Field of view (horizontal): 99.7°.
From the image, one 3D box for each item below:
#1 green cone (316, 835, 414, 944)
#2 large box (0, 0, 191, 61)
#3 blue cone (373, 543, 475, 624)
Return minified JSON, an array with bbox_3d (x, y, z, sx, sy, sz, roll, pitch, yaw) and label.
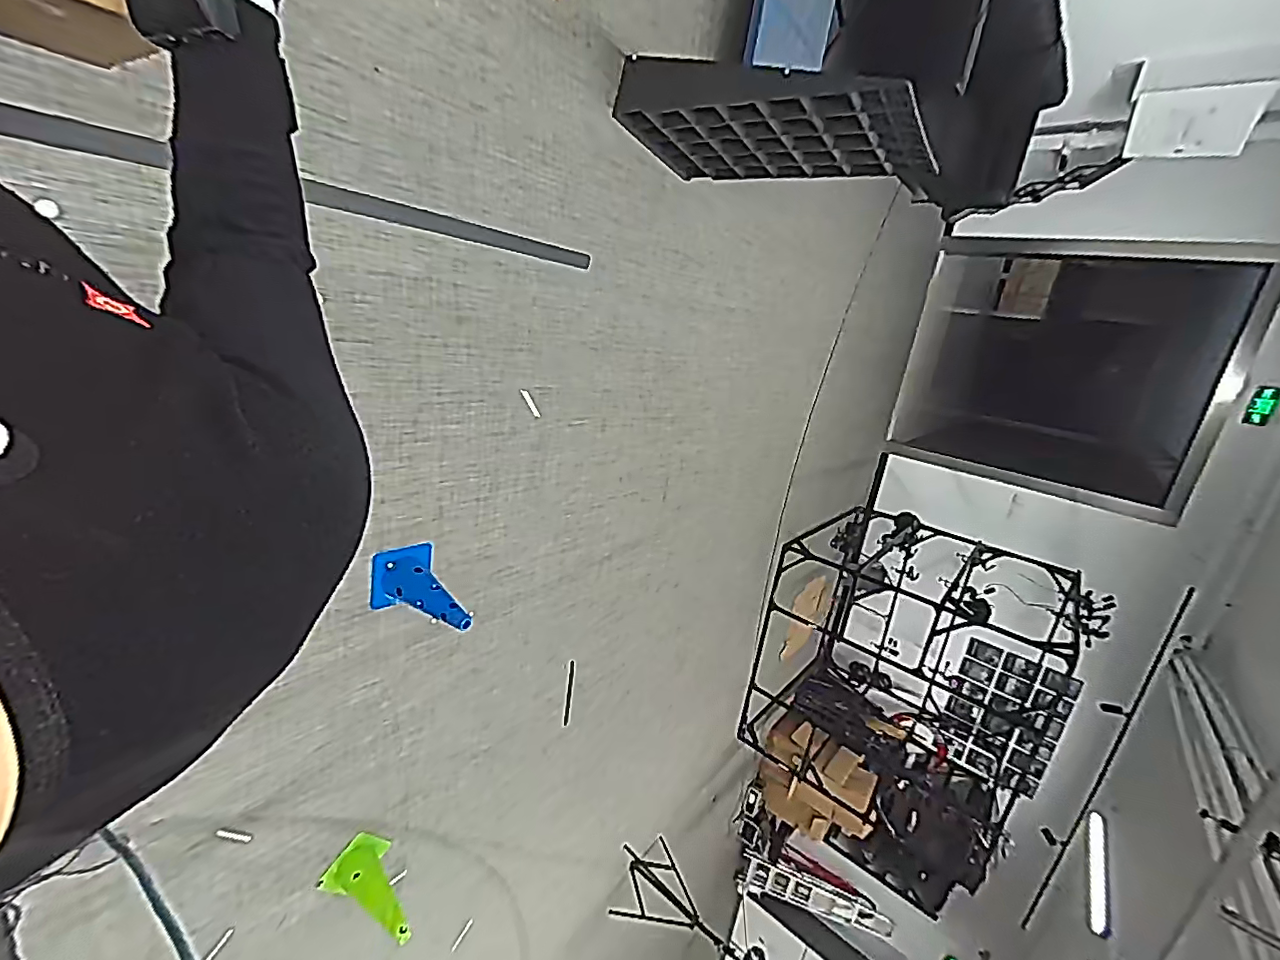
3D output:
[{"bbox_3d":[-0.894,1.441,1.850,0.202,0.368,0.200,-51,142,-27],"label":"green cone"},{"bbox_3d":[-0.529,-0.482,0.266,0.408,0.320,0.320,-12,121,-51],"label":"large box"},{"bbox_3d":[-0.644,0.353,1.664,0.192,0.380,0.193,-8,113,-53],"label":"blue cone"}]
